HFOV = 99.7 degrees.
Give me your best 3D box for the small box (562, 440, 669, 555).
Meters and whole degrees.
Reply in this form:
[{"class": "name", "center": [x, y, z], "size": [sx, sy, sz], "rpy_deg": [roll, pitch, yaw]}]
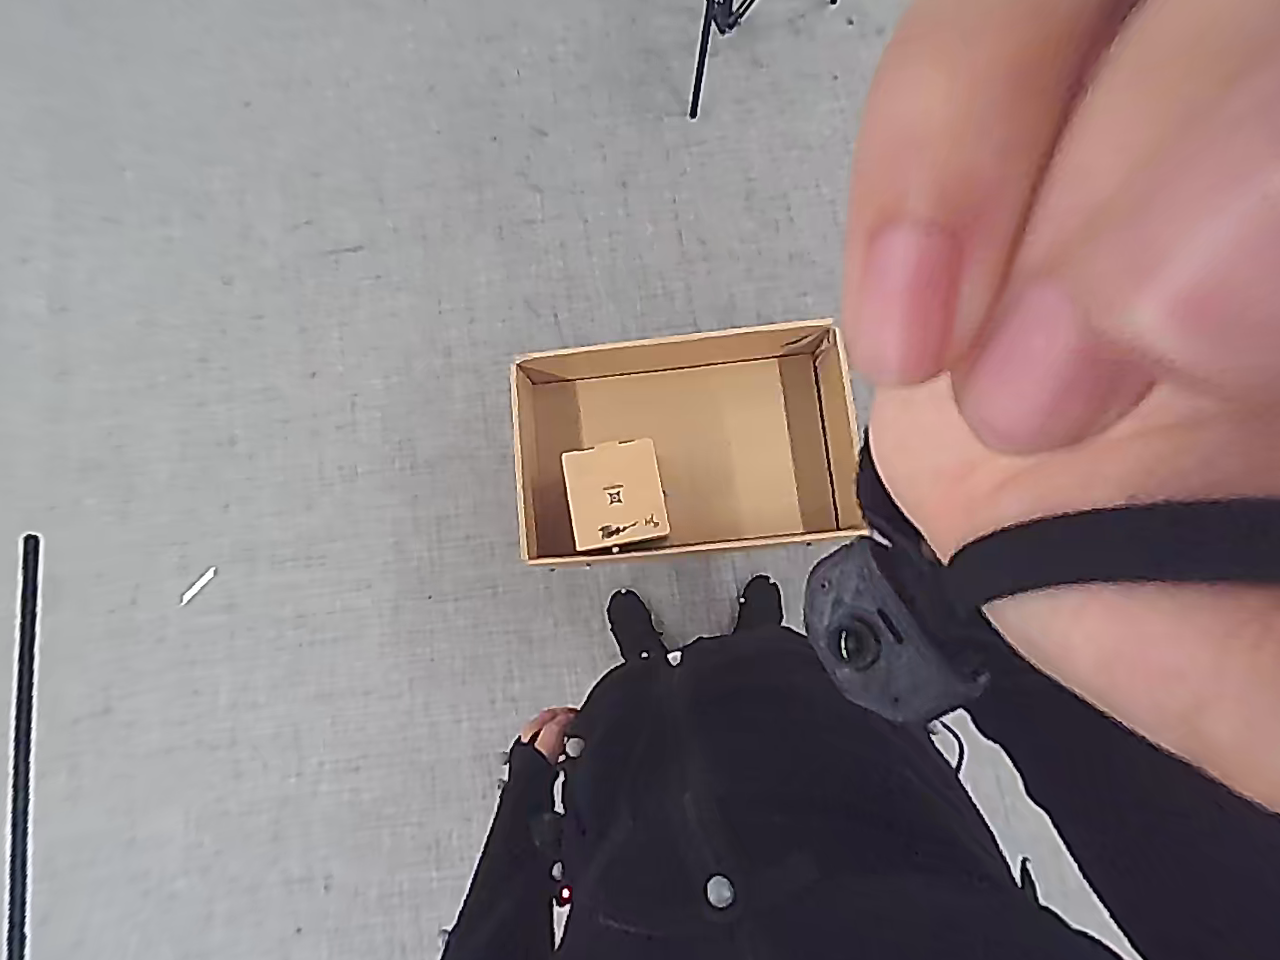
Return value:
[{"class": "small box", "center": [-0.041, 0.040, 1.015], "size": [0.168, 0.176, 0.179], "rpy_deg": [-11, 80, 2]}]
